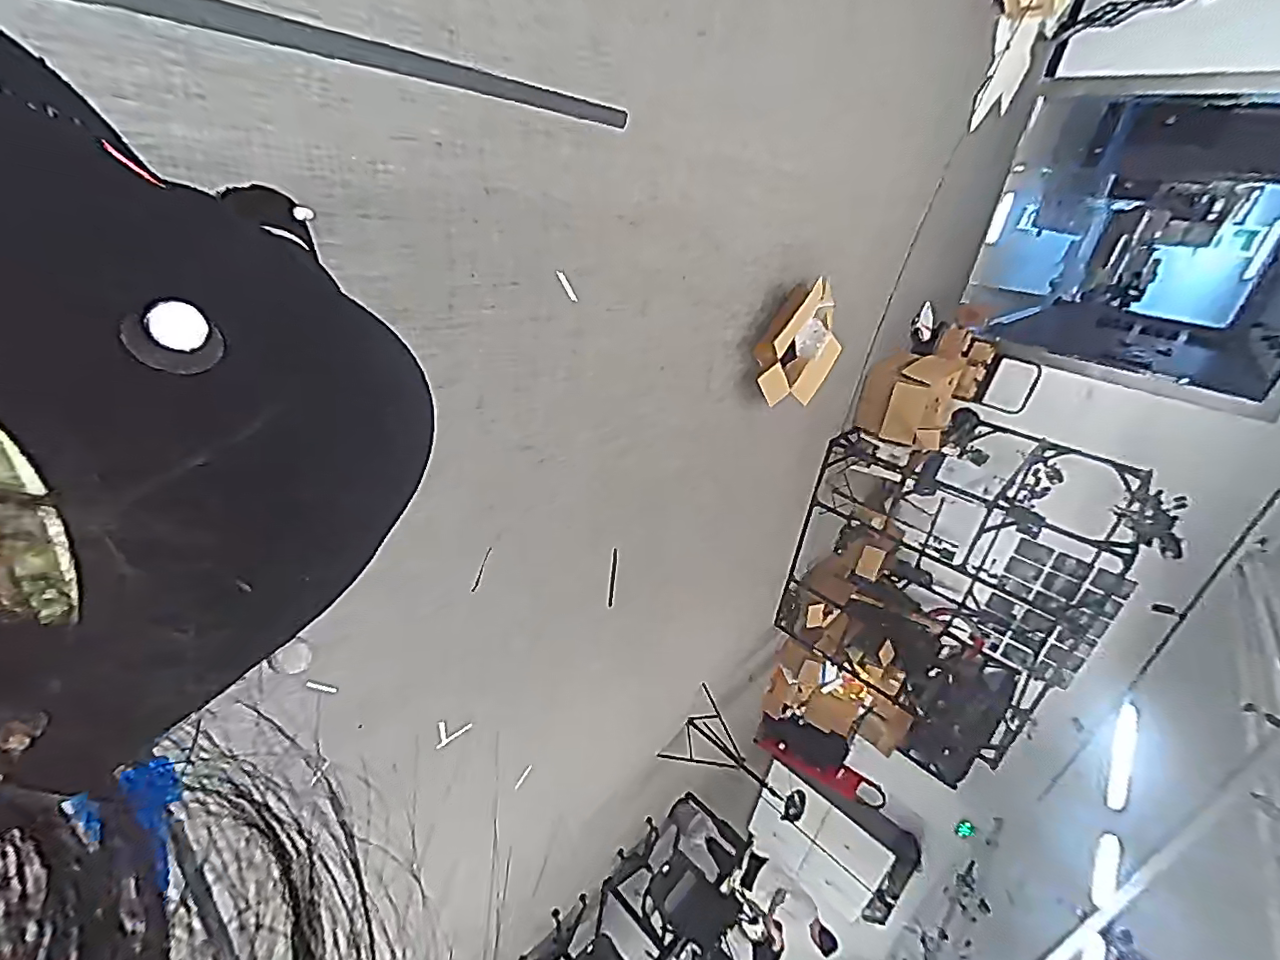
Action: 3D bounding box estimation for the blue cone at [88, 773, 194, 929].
[{"bbox_3d":[-1.239,0.978,1.388,0.193,0.380,0.192,-22,130,-42],"label":"blue cone"}]
